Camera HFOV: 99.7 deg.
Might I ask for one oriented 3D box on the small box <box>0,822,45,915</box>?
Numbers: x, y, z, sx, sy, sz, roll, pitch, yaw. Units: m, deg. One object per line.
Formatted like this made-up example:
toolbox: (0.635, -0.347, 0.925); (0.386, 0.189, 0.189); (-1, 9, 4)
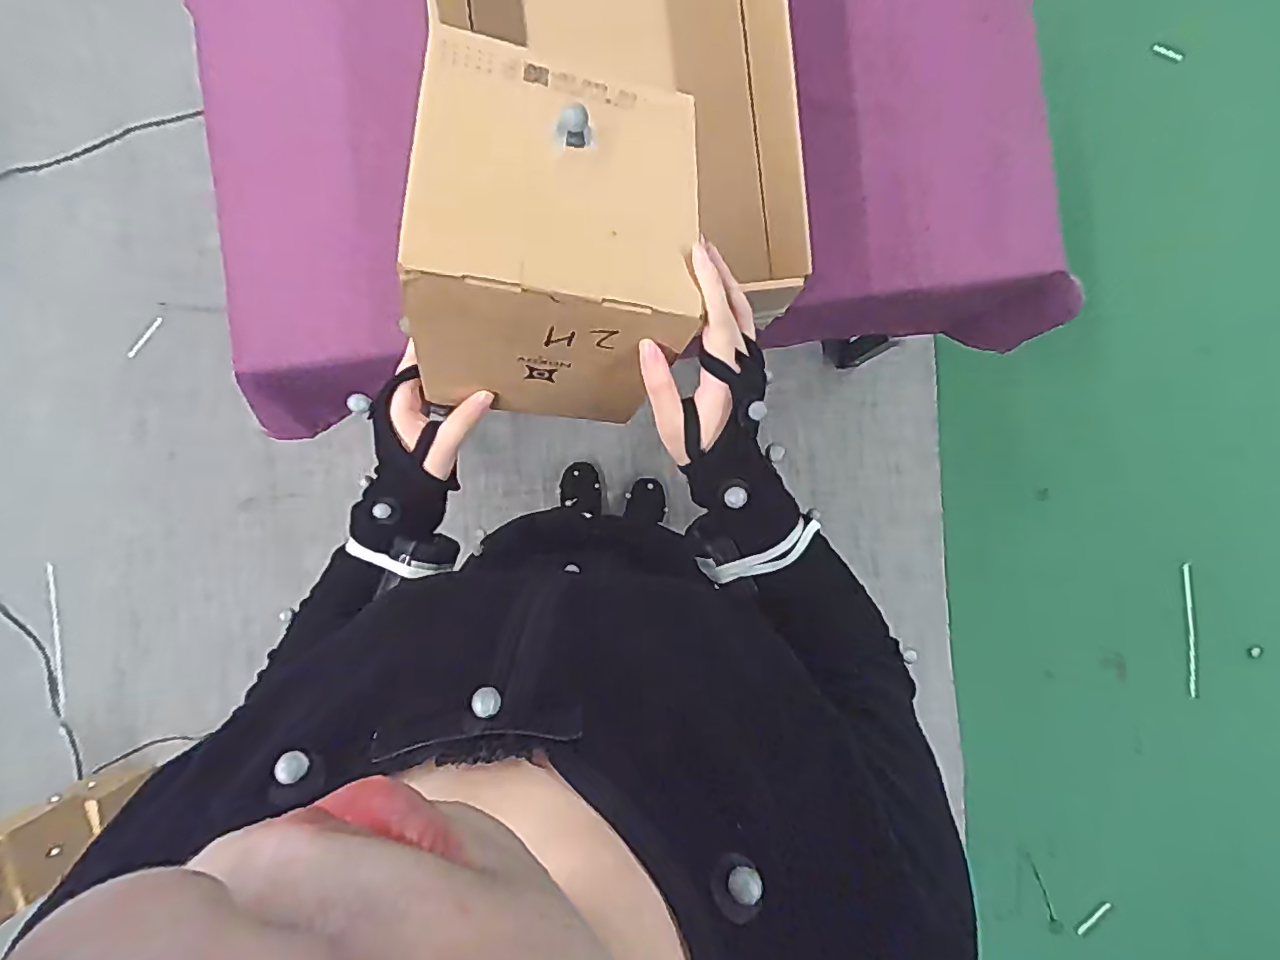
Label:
small box: (-1.477, 0.884, 1.173); (0.179, 0.176, 0.168); (-13, 90, 2)

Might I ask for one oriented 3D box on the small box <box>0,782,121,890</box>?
small box: (-1.456, 0.879, 1.336); (0.168, 0.176, 0.179); (-17, 91, 2)
